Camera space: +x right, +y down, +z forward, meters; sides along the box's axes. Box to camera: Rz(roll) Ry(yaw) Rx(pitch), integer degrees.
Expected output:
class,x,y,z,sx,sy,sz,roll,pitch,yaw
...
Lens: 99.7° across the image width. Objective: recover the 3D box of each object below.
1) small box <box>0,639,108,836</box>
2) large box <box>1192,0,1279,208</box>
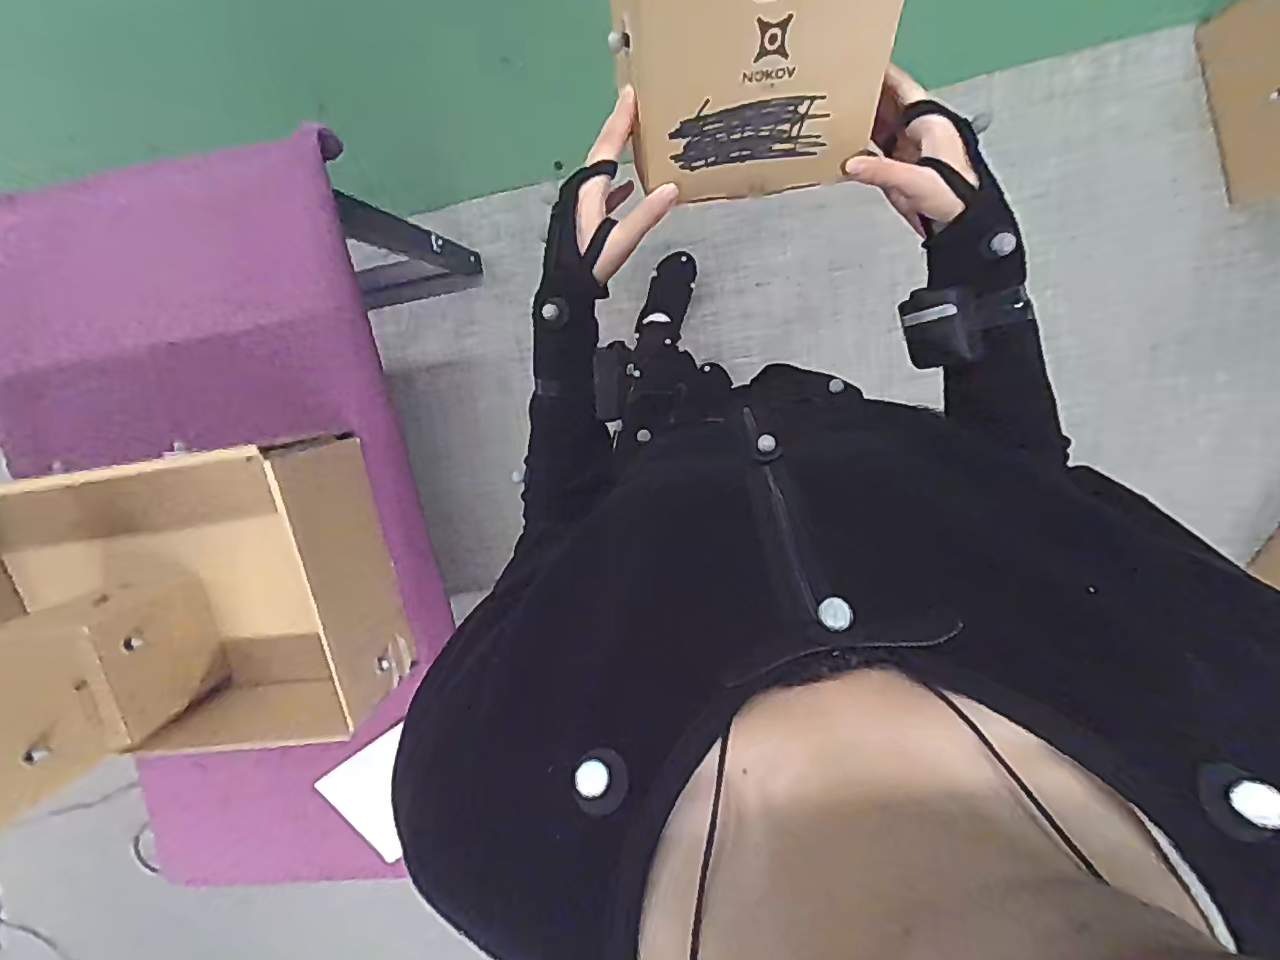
class,x,y,z,sx,sy,sz,roll,pitch,yaw
small box,-0.770,0.296,0.614,0.179,0.176,0.168,-6,102,5
large box,1.412,-0.827,1.045,0.320,0.320,0.408,-24,98,9
